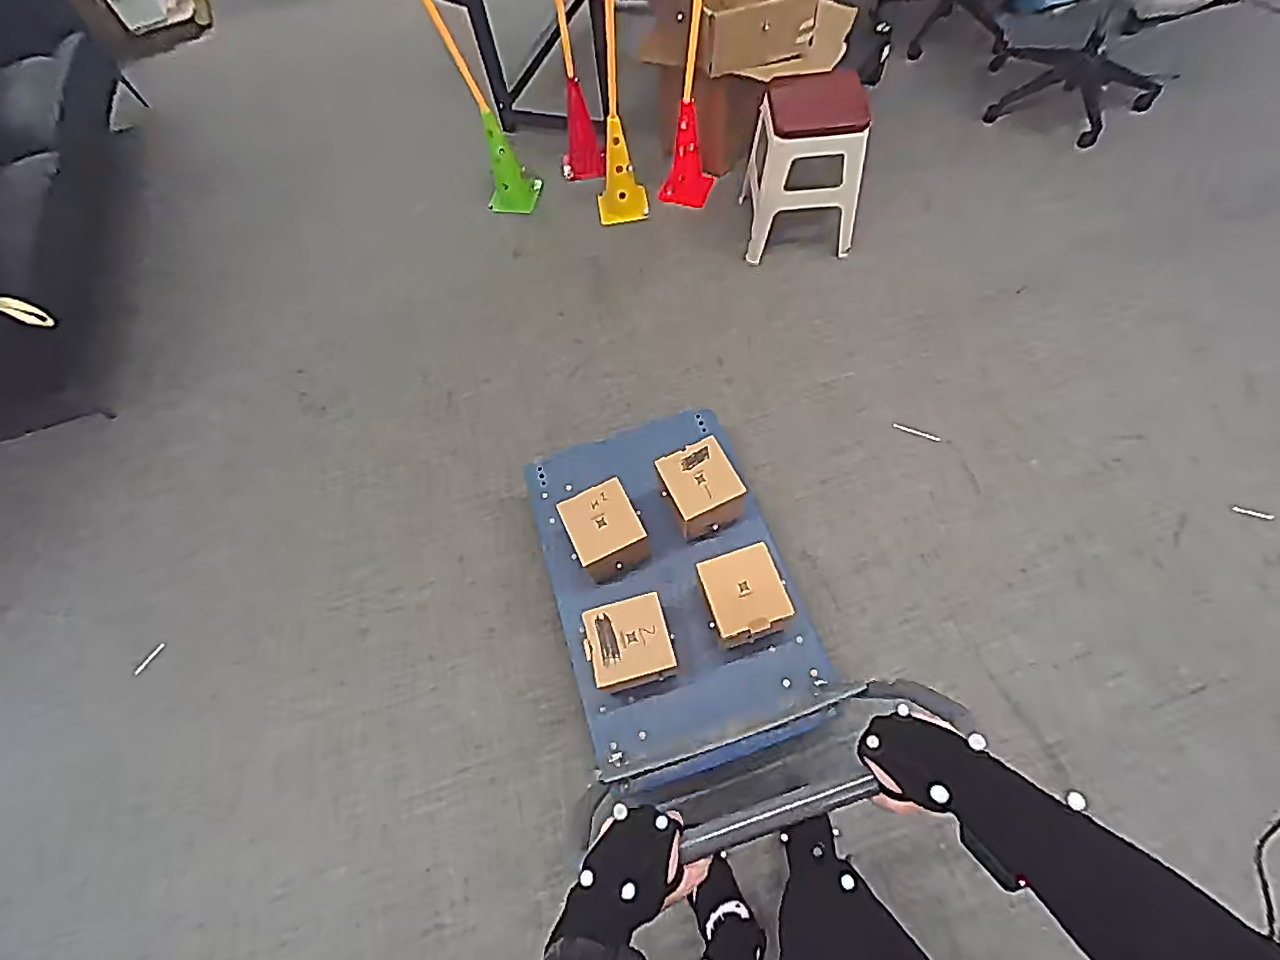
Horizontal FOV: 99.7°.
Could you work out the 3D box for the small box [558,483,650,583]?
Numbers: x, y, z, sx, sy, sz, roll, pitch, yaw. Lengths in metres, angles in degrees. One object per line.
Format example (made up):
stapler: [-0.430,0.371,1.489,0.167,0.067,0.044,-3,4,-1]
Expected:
small box: [-0.083,0.142,1.348,0.168,0.176,0.179,-25,65,-7]

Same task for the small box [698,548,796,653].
small box: [0.238,0.284,1.253,0.168,0.176,0.179,-18,65,-3]

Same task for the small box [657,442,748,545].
small box: [0.154,0.039,1.375,0.168,0.176,0.179,-25,66,-6]
